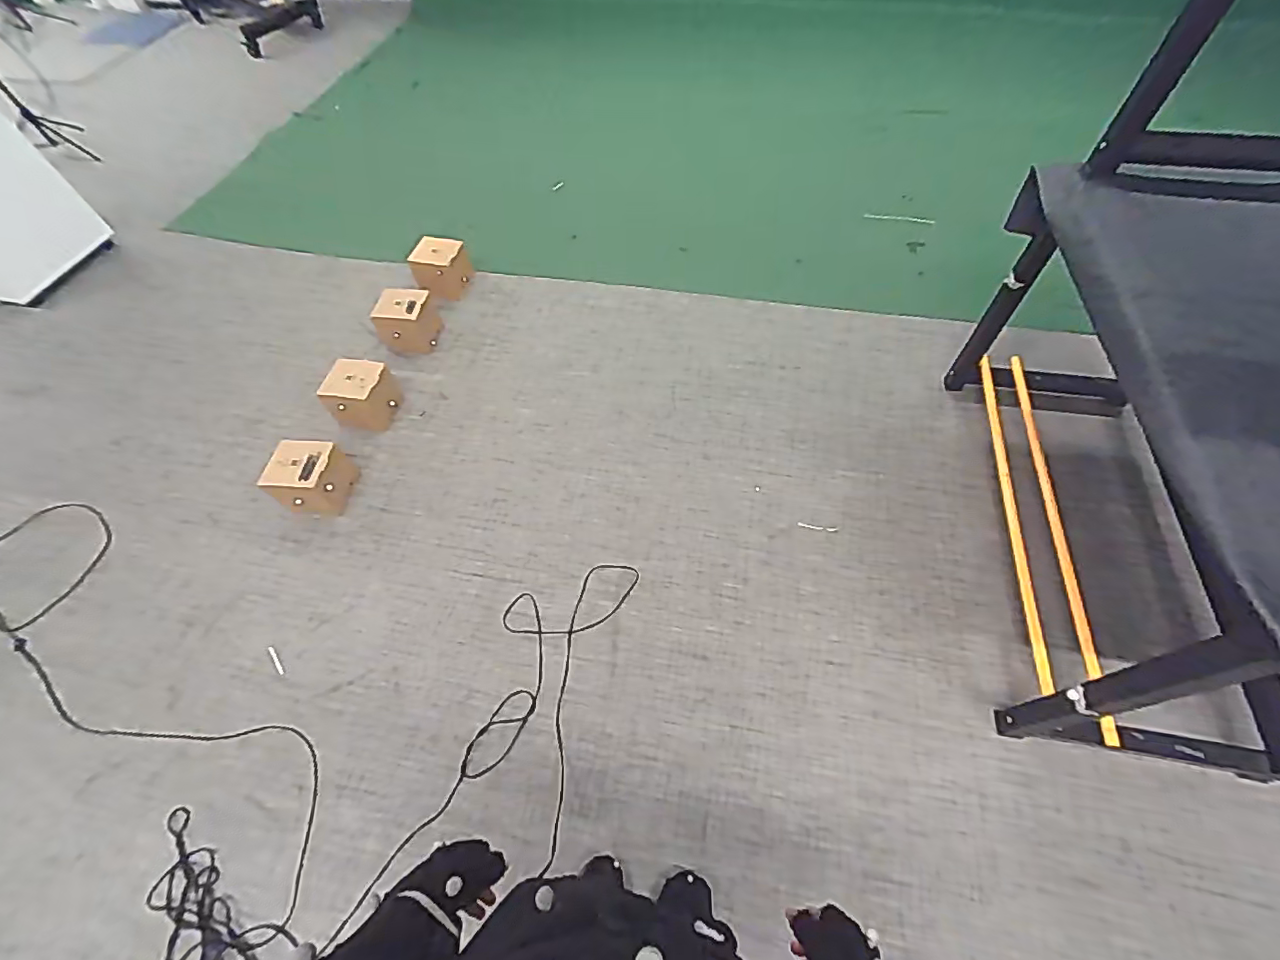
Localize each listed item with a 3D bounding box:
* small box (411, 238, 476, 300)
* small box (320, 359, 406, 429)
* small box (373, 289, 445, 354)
[{"bbox_3d":[-0.803,-0.865,2.226,0.179,0.176,0.168,10,59,7],"label":"small box"},{"bbox_3d":[-0.940,-0.291,1.852,0.179,0.176,0.168,8,59,6],"label":"small box"},{"bbox_3d":[-0.867,-0.599,2.053,0.179,0.176,0.168,5,57,5],"label":"small box"}]
